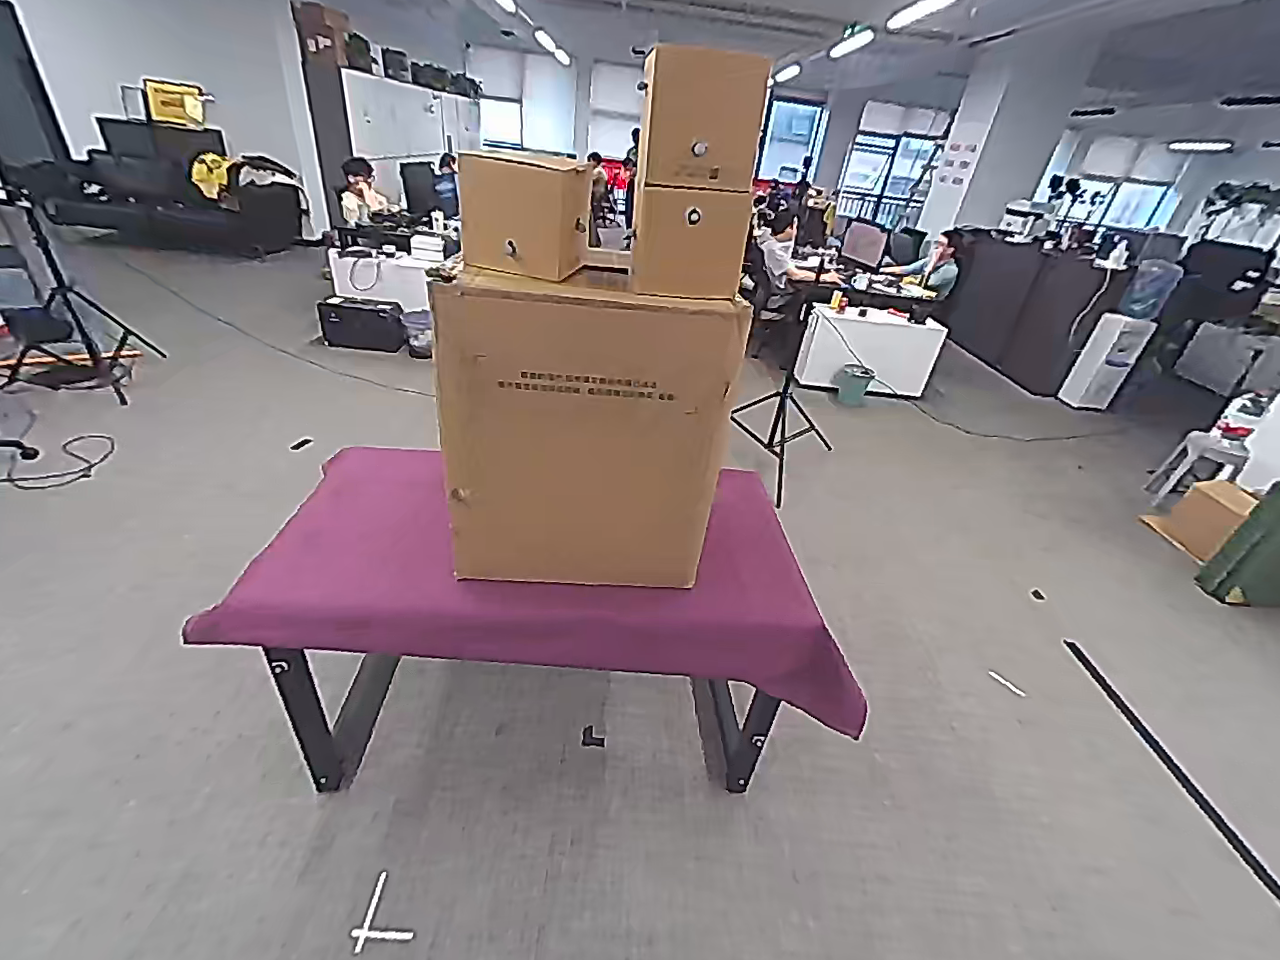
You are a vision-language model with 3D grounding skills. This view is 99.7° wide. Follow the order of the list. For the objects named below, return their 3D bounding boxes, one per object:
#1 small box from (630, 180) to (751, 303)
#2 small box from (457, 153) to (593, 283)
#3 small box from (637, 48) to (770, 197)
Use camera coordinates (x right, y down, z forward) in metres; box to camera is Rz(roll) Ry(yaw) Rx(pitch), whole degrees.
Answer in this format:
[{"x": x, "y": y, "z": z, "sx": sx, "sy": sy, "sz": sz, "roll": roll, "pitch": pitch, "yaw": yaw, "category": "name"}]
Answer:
[{"x": 0.075, "y": -0.409, "z": 0.930, "sx": 0.179, "sy": 0.176, "sz": 0.168, "roll": 2, "pitch": 33, "yaw": -7, "category": "small box"}, {"x": -0.192, "y": -0.449, "z": 0.930, "sx": 0.179, "sy": 0.176, "sz": 0.168, "roll": 13, "pitch": 34, "yaw": 6, "category": "small box"}, {"x": 0.086, "y": -0.550, "z": 0.845, "sx": 0.168, "sy": 0.176, "sz": 0.179, "roll": 1, "pitch": 34, "yaw": -5, "category": "small box"}]
